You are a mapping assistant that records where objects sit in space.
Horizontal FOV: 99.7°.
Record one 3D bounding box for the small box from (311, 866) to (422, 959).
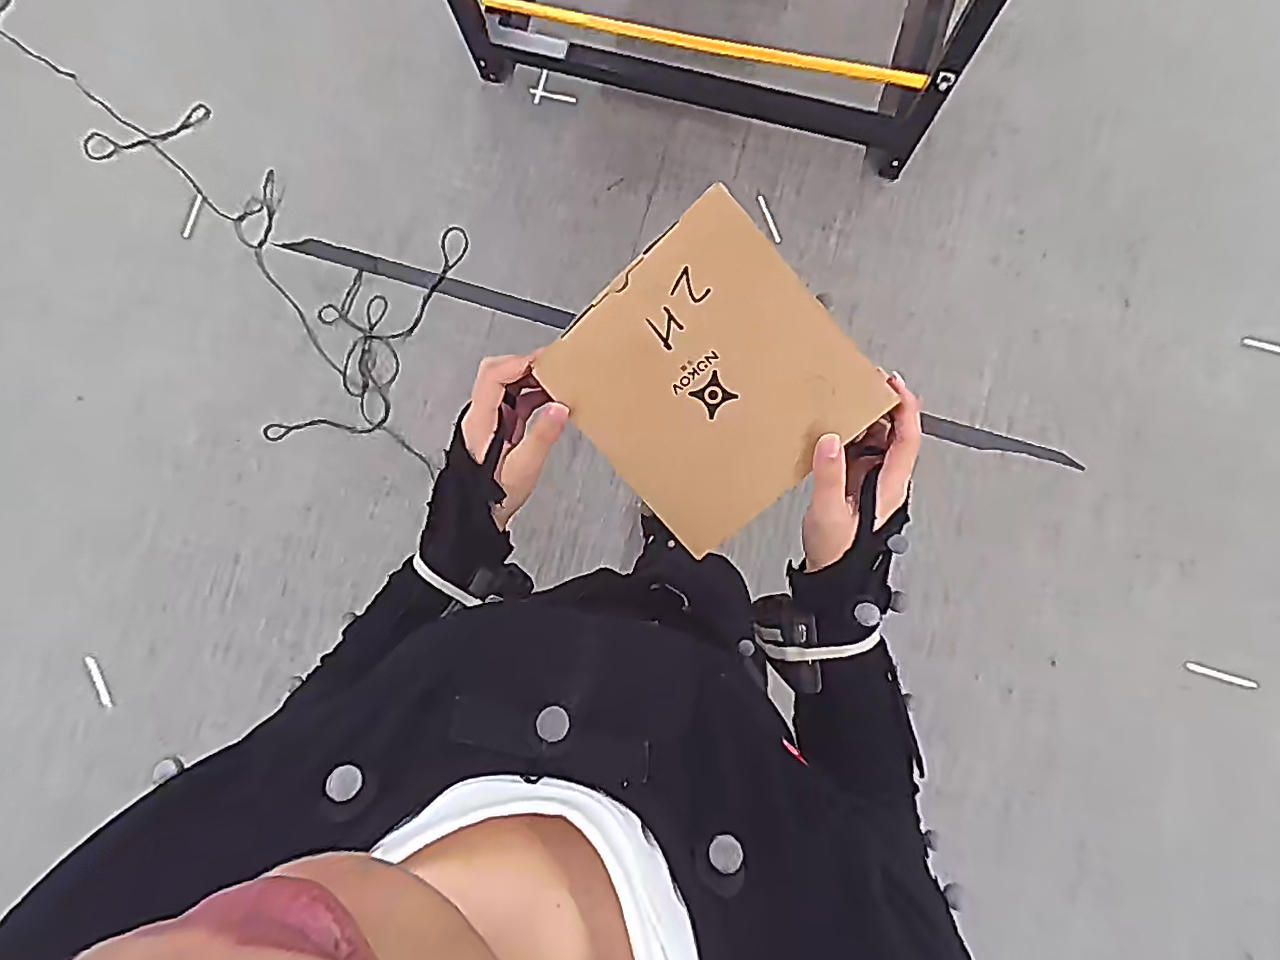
[{"bbox_3d":[-0.646,1.077,1.287,0.168,0.176,0.179,13,86,5],"label":"small box"}]
